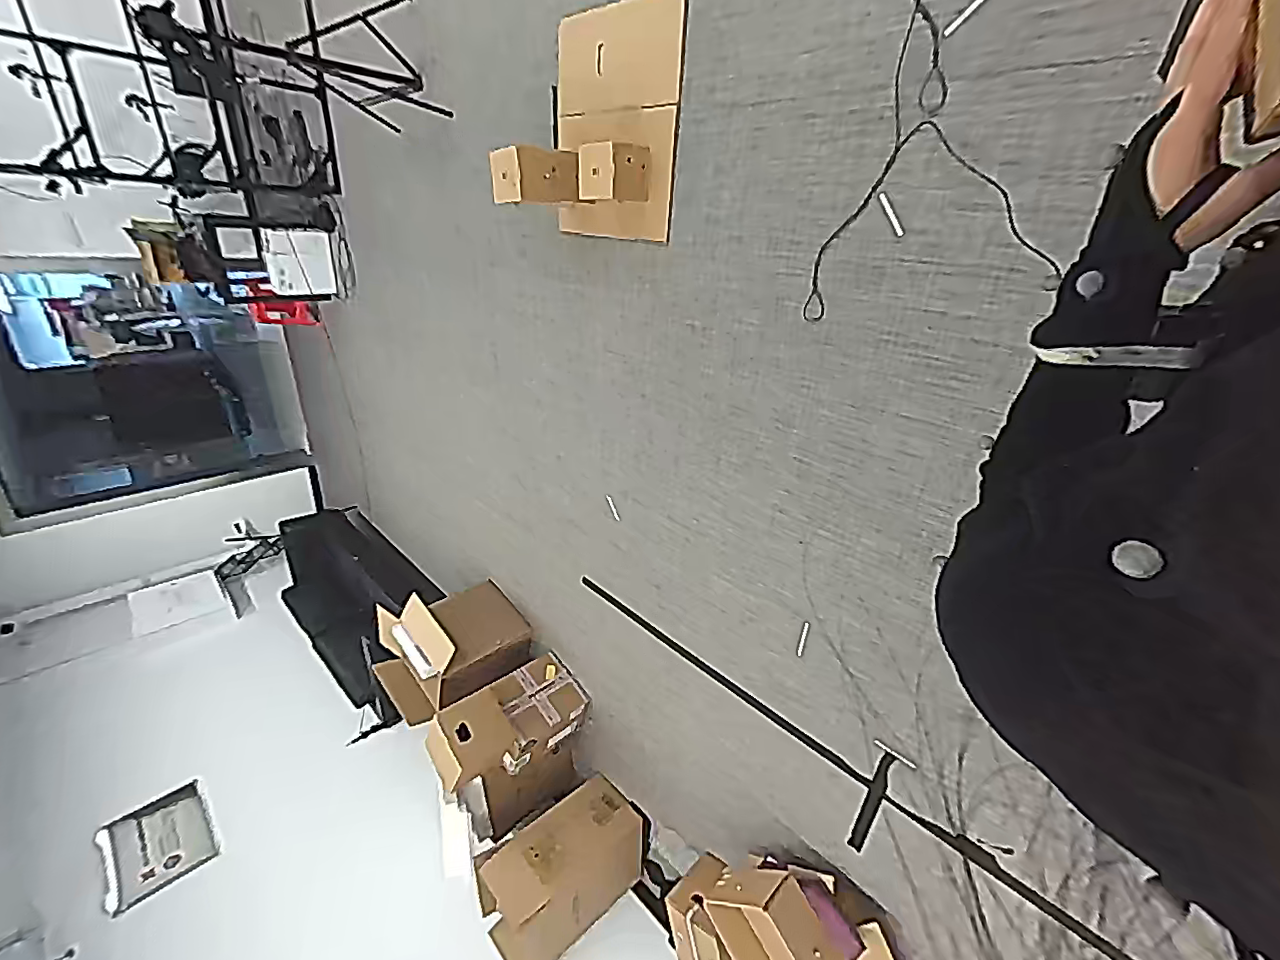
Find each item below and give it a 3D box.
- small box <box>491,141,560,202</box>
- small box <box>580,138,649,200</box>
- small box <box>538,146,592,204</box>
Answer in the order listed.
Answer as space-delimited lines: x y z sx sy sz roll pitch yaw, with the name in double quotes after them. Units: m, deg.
-0.401 -1.081 1.908 0.179 0.176 0.168 21 122 41 "small box"
-0.084 -1.049 1.829 0.179 0.176 0.168 24 122 40 "small box"
-0.283 -1.130 2.012 0.179 0.176 0.168 18 119 42 "small box"
